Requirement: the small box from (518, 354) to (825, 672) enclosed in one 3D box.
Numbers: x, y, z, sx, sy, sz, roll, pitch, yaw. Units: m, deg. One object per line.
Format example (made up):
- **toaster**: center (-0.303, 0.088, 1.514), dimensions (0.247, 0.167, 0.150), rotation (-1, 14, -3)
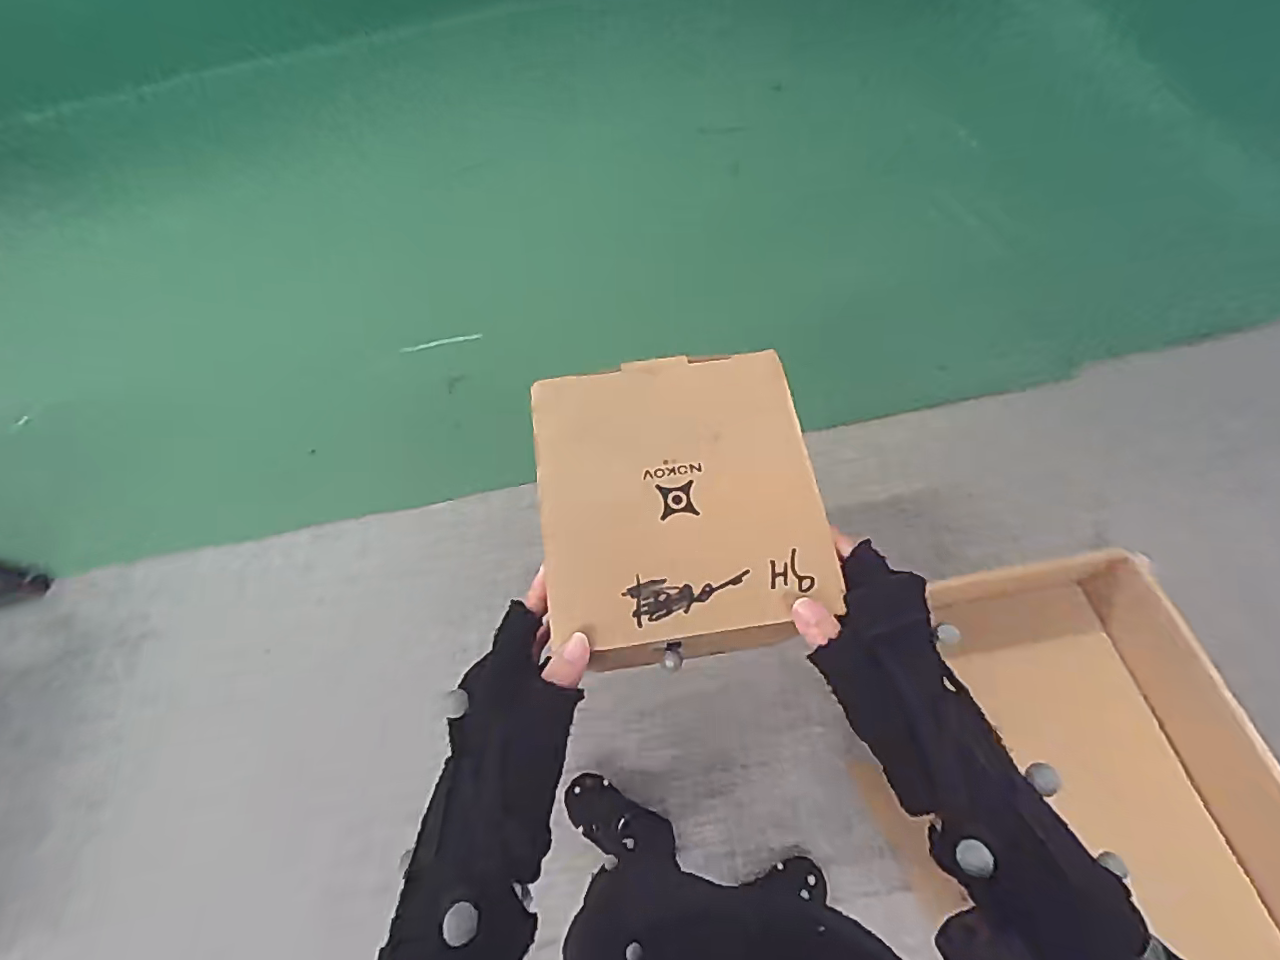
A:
- **small box**: center (0.013, 0.036, 0.403), dimensions (0.168, 0.176, 0.179), rotation (-9, 67, -1)
